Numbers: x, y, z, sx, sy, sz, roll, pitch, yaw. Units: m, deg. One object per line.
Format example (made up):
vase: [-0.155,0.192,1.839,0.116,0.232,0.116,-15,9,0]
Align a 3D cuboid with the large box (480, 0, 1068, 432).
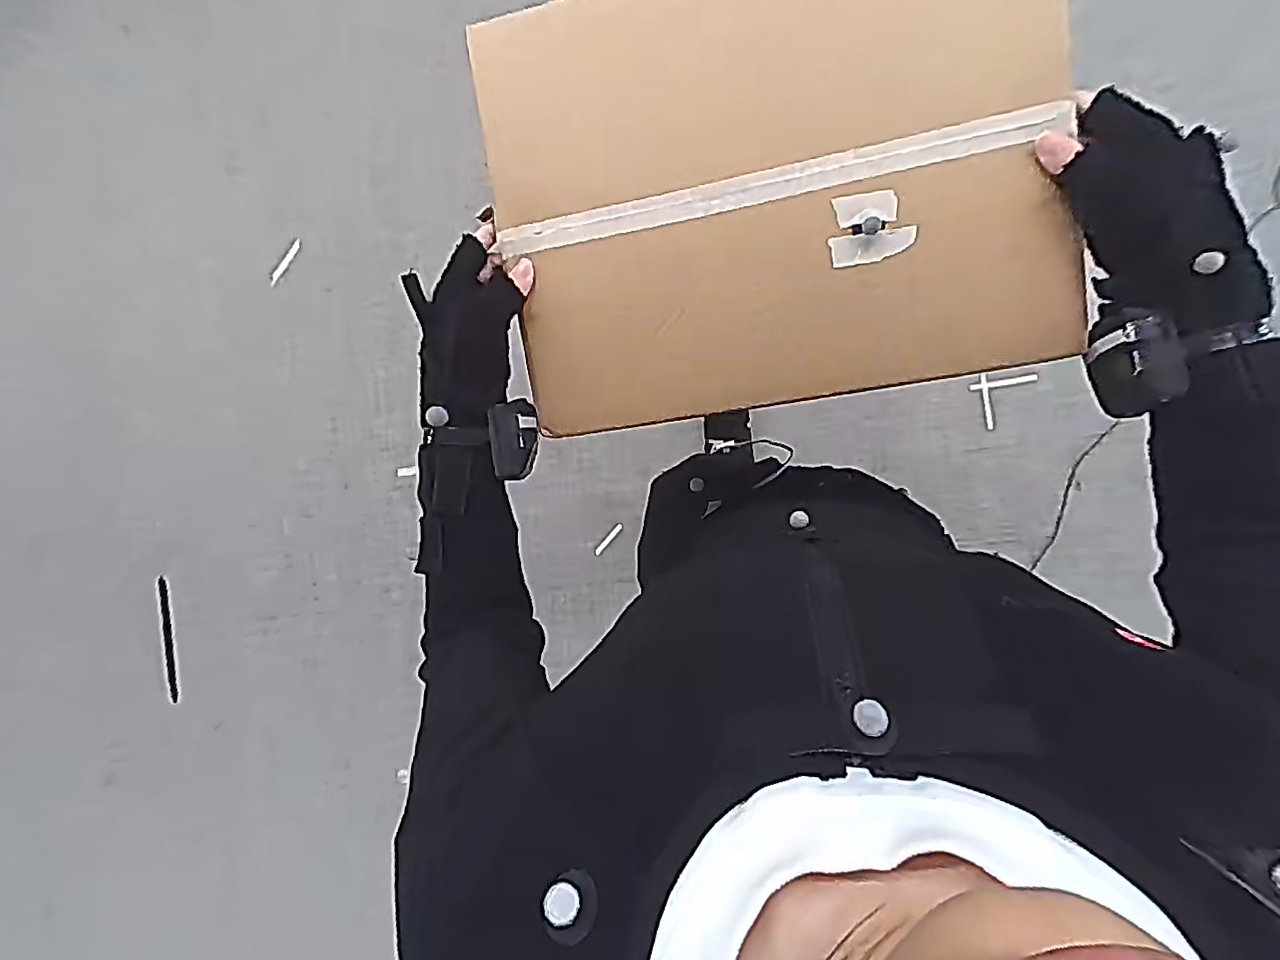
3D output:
large box: [0.112,-0.241,0.552,0.408,0.320,0.320,-9,98,9]
